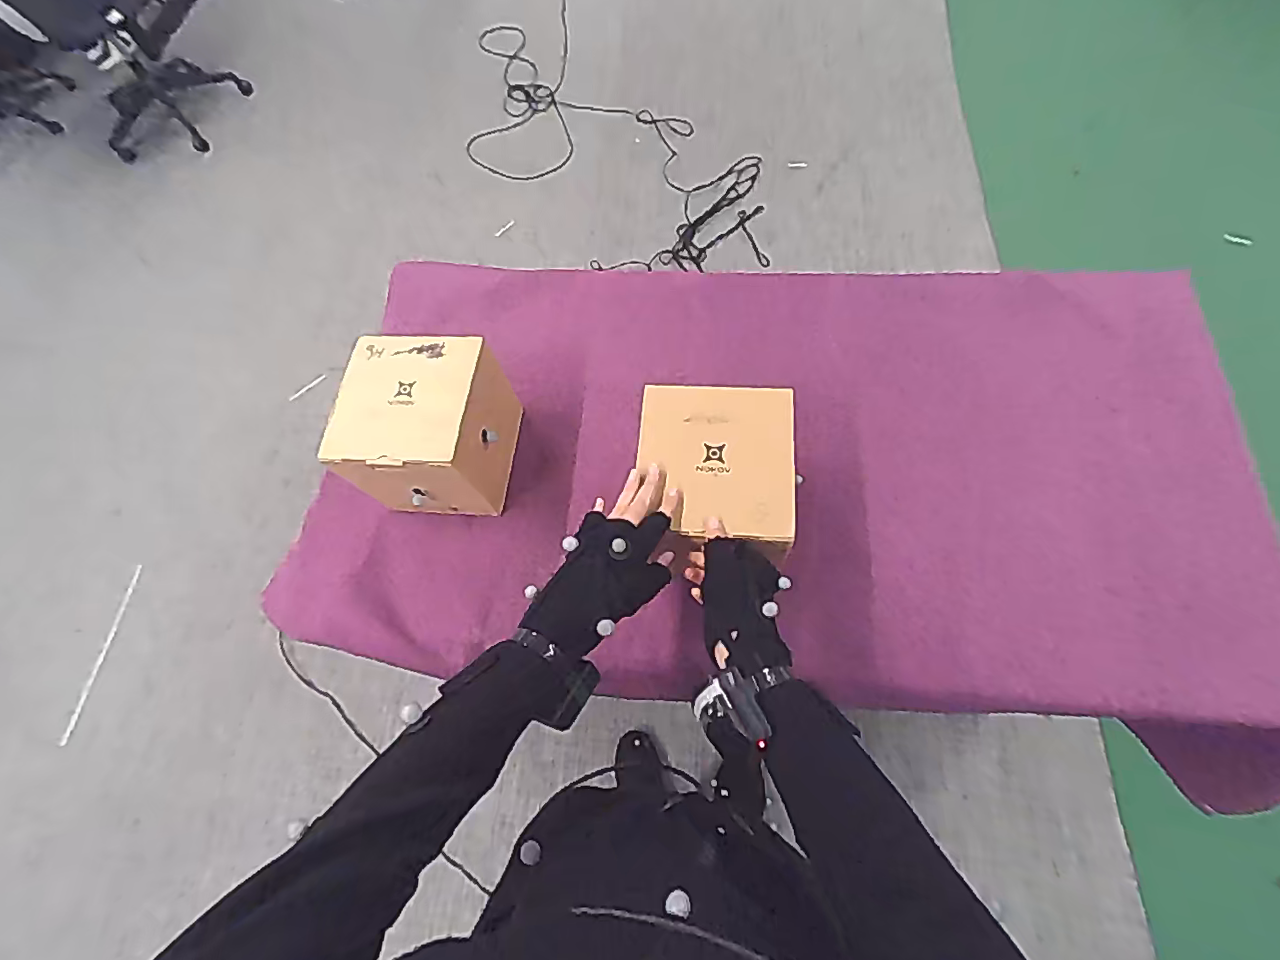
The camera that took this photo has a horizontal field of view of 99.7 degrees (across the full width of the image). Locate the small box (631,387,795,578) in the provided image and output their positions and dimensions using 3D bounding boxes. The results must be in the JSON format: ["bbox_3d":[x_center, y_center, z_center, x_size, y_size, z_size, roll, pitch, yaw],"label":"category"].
[{"bbox_3d":[0.088,0.011,0.640,0.168,0.176,0.179,3,66,7],"label":"small box"}]

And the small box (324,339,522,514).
[{"bbox_3d":[-0.266,-0.063,0.711,0.168,0.176,0.179,2,67,7],"label":"small box"}]
